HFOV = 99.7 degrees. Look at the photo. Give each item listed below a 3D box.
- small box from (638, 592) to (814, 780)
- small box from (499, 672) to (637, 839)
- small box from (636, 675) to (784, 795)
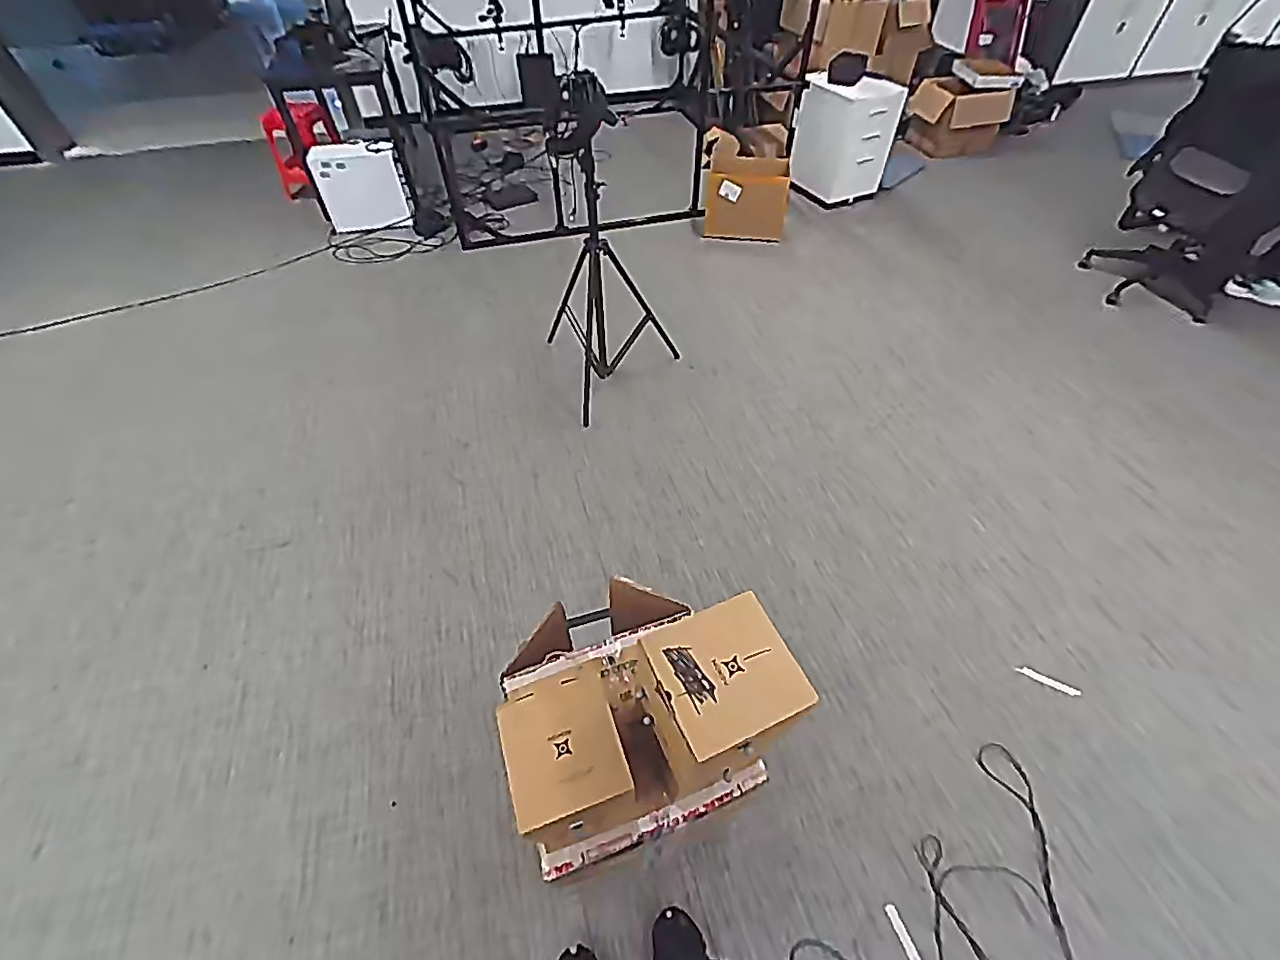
[{"bbox_3d":[0.107,0.292,0.758,0.179,0.176,0.168,-19,56,-16],"label":"small box"},{"bbox_3d":[-0.110,0.436,0.852,0.168,0.176,0.179,-18,56,-11],"label":"small box"},{"bbox_3d":[0.103,0.389,0.892,0.179,0.176,0.168,-19,55,-16],"label":"small box"}]
